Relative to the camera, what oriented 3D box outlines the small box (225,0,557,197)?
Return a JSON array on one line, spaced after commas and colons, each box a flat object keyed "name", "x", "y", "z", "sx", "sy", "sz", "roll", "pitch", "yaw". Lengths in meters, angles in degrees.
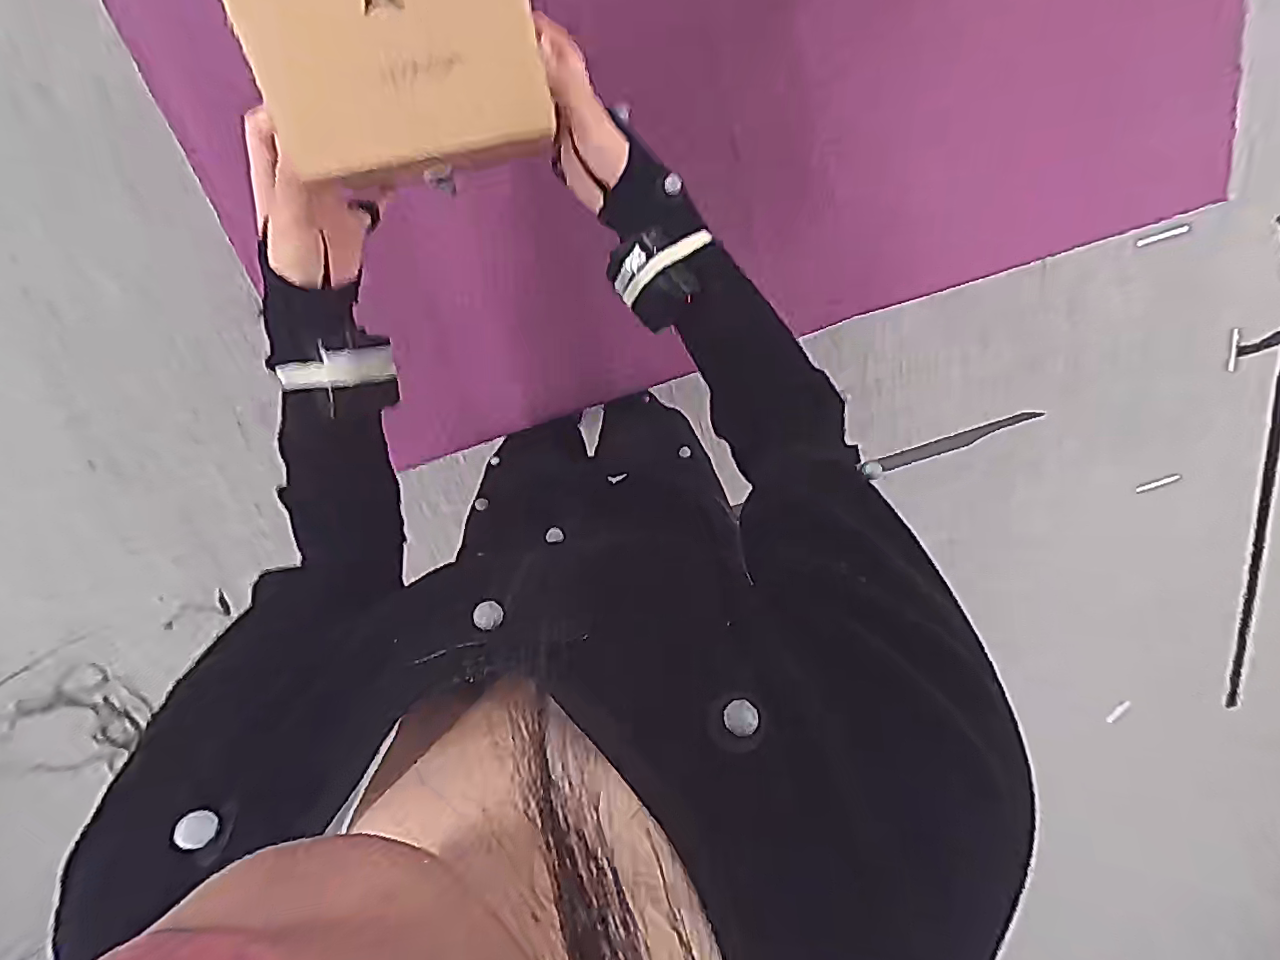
[{"name": "small box", "x": -0.160, "y": -0.308, "z": 0.372, "sx": 0.168, "sy": 0.176, "sz": 0.179, "roll": -13, "pitch": 117, "yaw": -5}]
